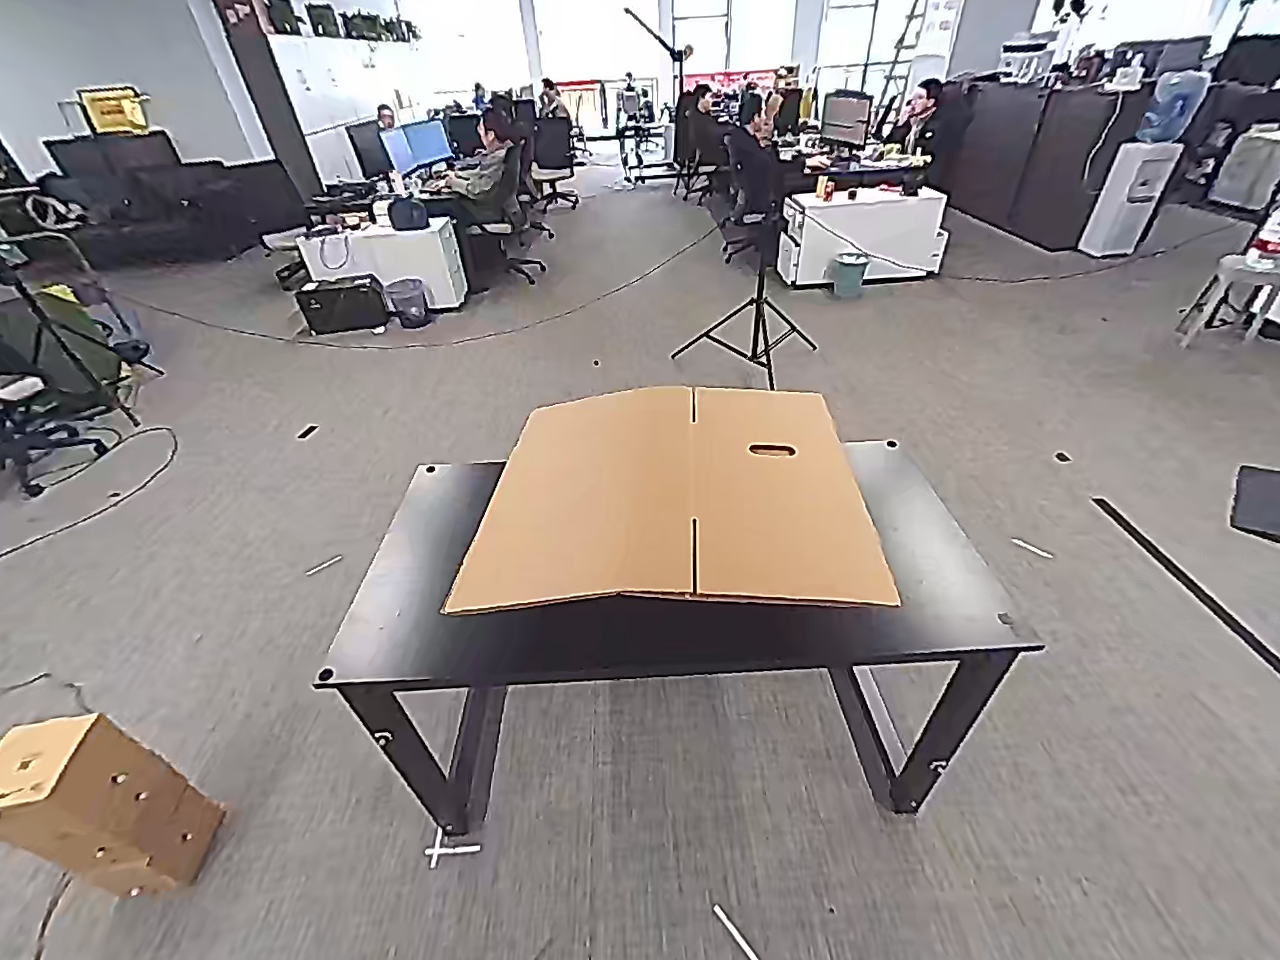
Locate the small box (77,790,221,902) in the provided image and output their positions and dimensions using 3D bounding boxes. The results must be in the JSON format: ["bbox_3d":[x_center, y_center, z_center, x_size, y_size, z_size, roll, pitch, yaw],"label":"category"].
[{"bbox_3d":[-1.173,0.888,1.314,0.168,0.176,0.179,-6,38,-2],"label":"small box"}]

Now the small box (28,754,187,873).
[{"bbox_3d":[-1.184,0.756,1.220,0.168,0.176,0.179,-7,36,-5],"label":"small box"}]

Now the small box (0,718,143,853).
[{"bbox_3d":[-1.191,0.629,1.117,0.168,0.176,0.179,-9,37,-7],"label":"small box"}]
